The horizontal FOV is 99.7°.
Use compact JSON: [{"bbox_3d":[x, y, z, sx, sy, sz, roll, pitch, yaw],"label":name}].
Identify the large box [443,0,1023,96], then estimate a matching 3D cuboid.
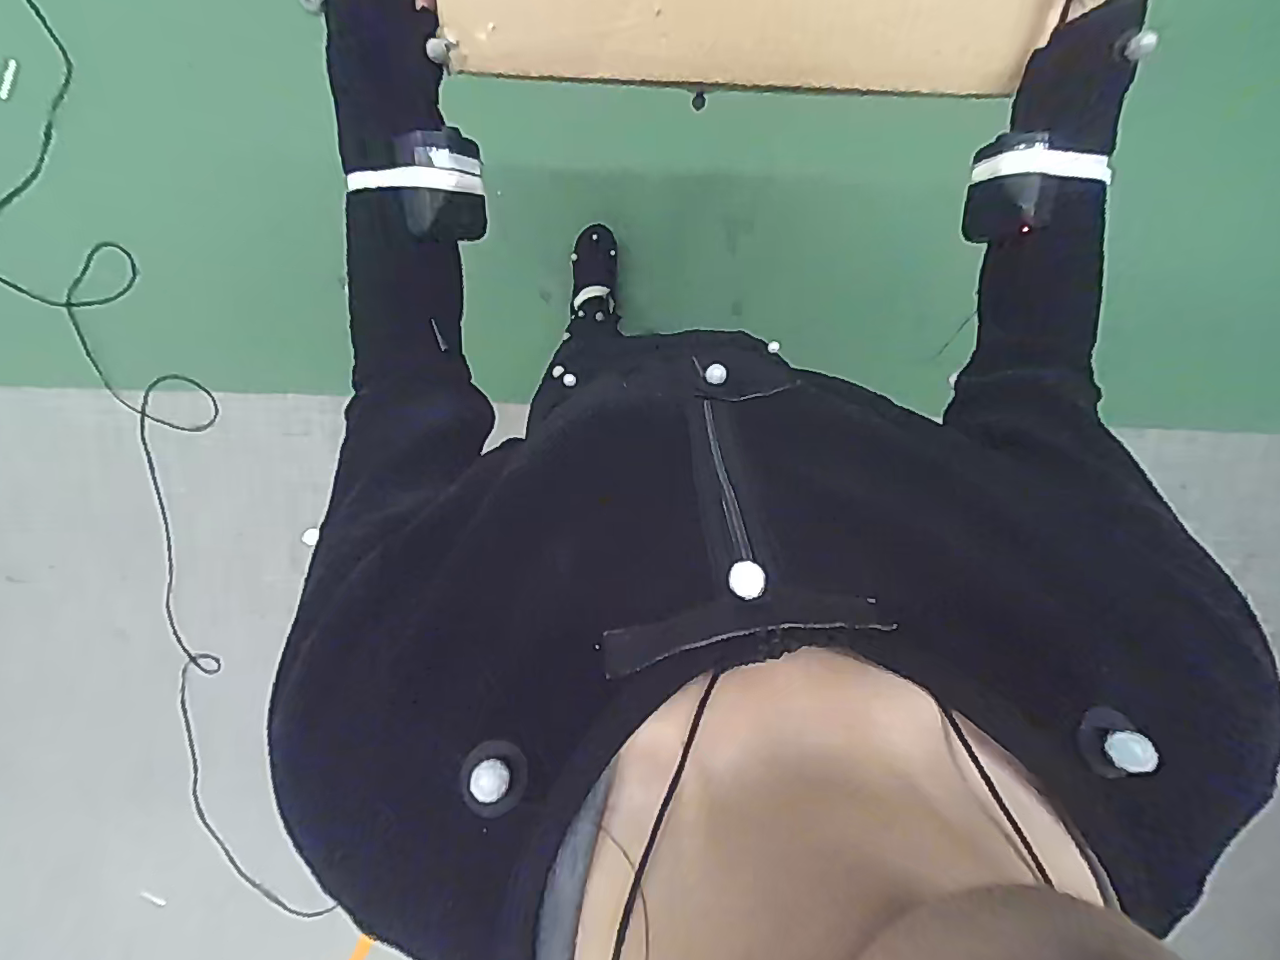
[{"bbox_3d":[0.060,-0.495,0.419,0.408,0.320,0.320,-2,125,-5],"label":"large box"}]
